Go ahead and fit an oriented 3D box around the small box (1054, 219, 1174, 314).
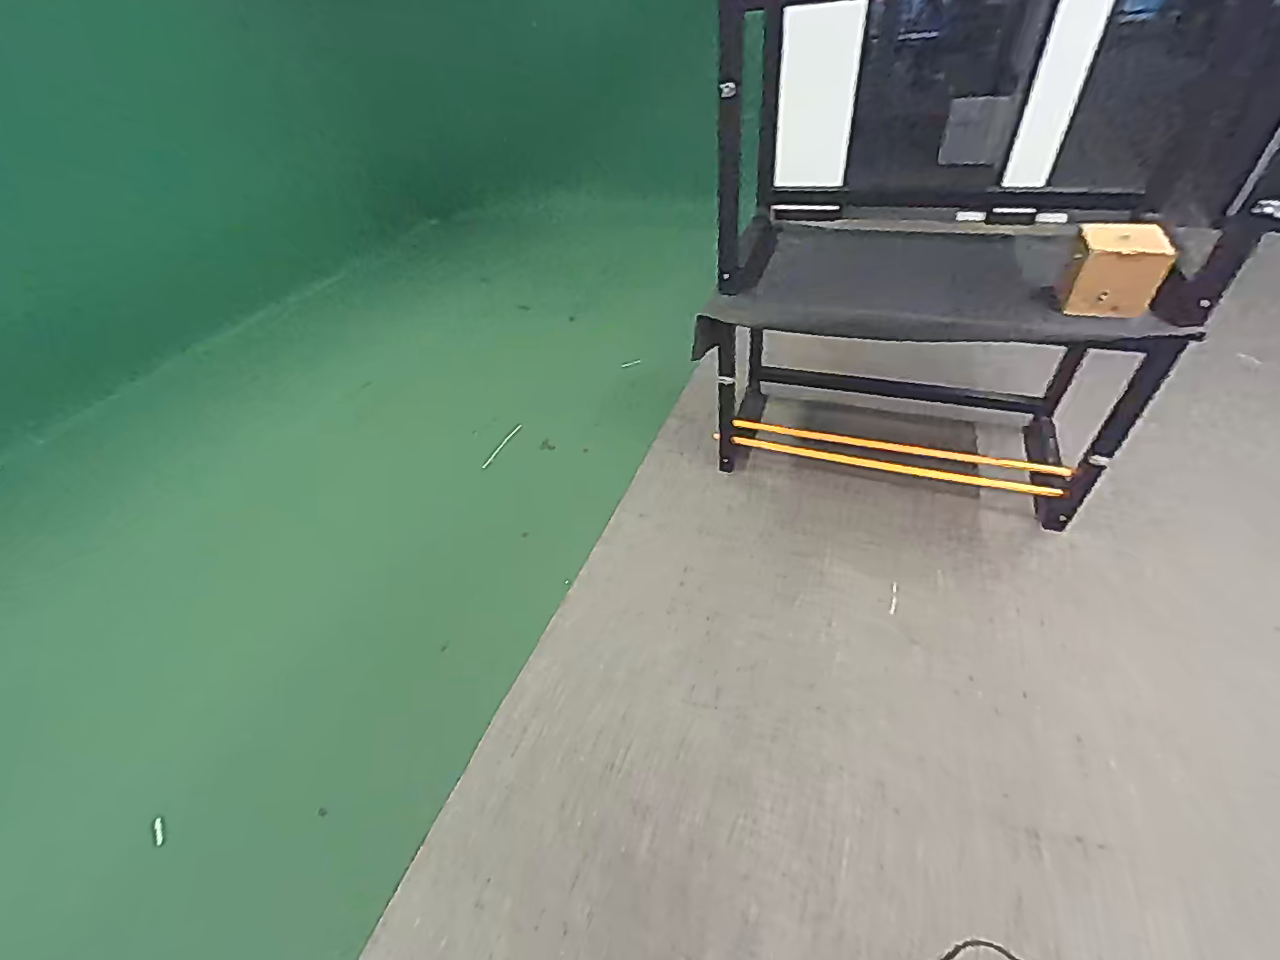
[{"bbox_3d":[1.185,-0.543,1.370,0.168,0.176,0.179,10,47,20],"label":"small box"}]
